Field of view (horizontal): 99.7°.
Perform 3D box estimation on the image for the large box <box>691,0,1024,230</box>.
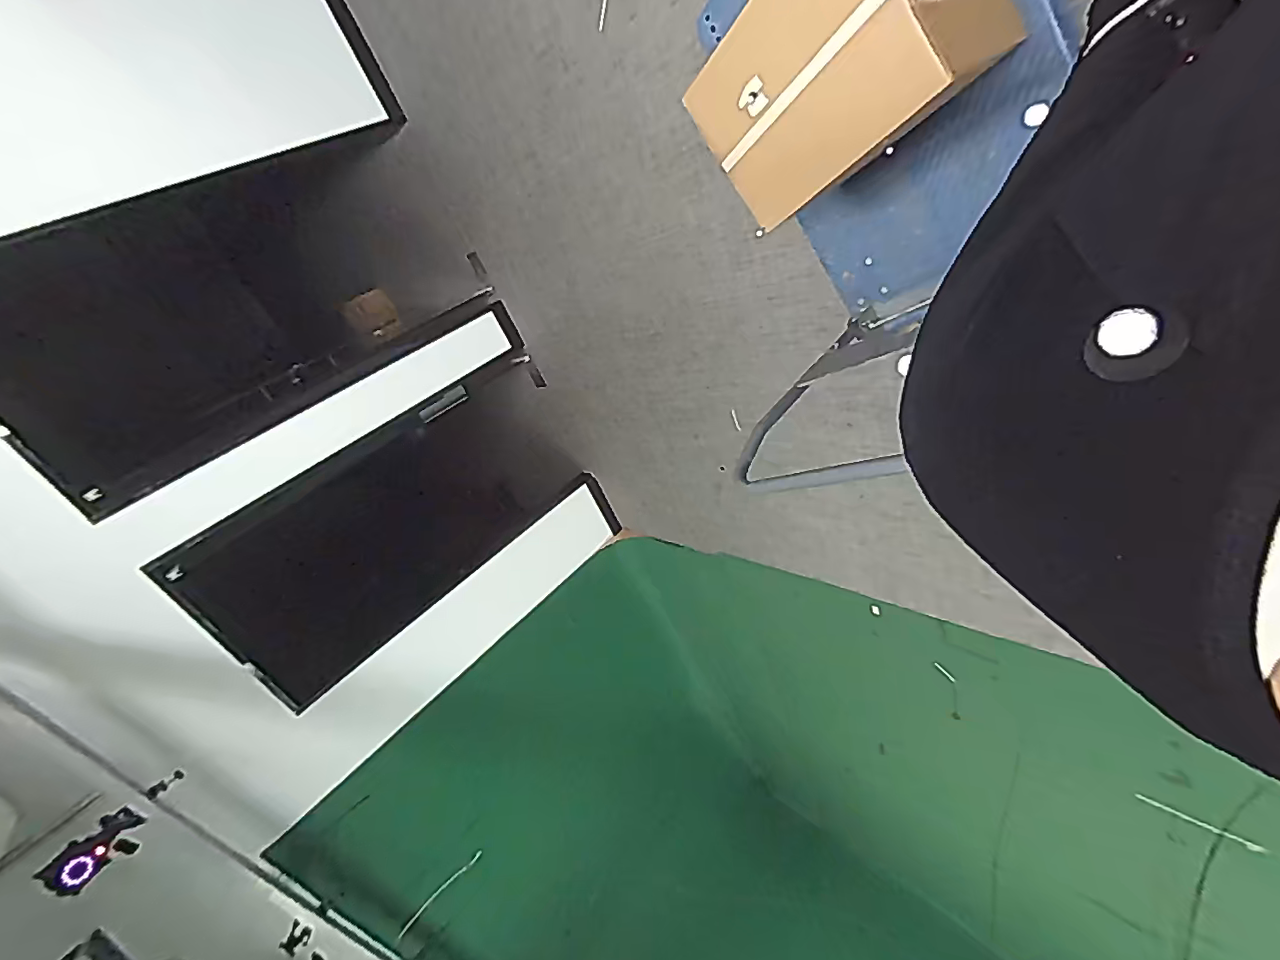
[{"bbox_3d":[0.377,-0.757,0.994,0.320,0.320,0.408,55,153,-9],"label":"large box"}]
